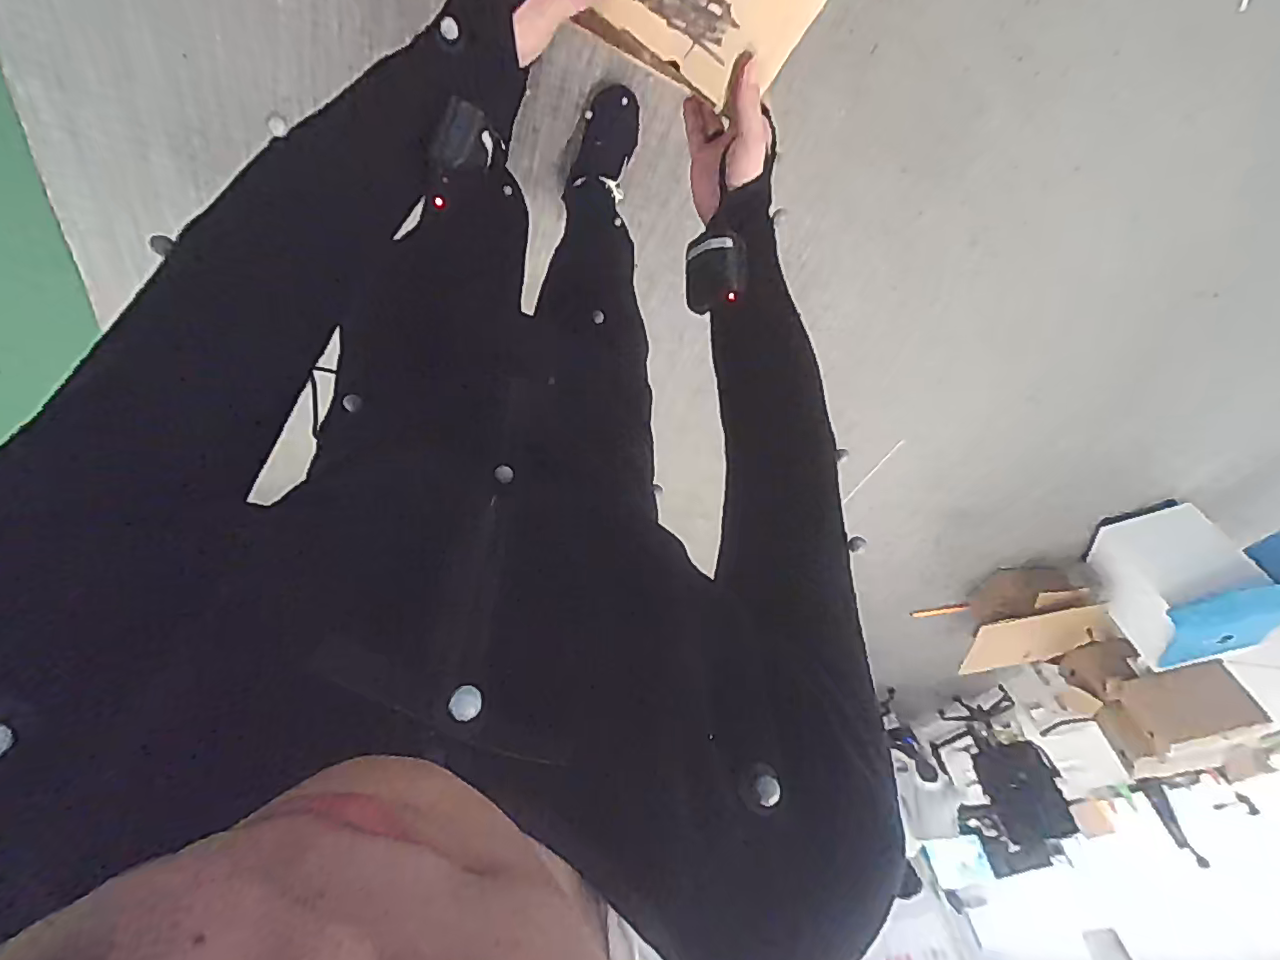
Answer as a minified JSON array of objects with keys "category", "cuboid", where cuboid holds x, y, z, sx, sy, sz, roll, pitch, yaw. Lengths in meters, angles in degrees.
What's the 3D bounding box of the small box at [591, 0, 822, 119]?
[{"category":"small box","cuboid":[0.062,-0.468,0.463,0.168,0.176,0.179,18,133,-31]}]
